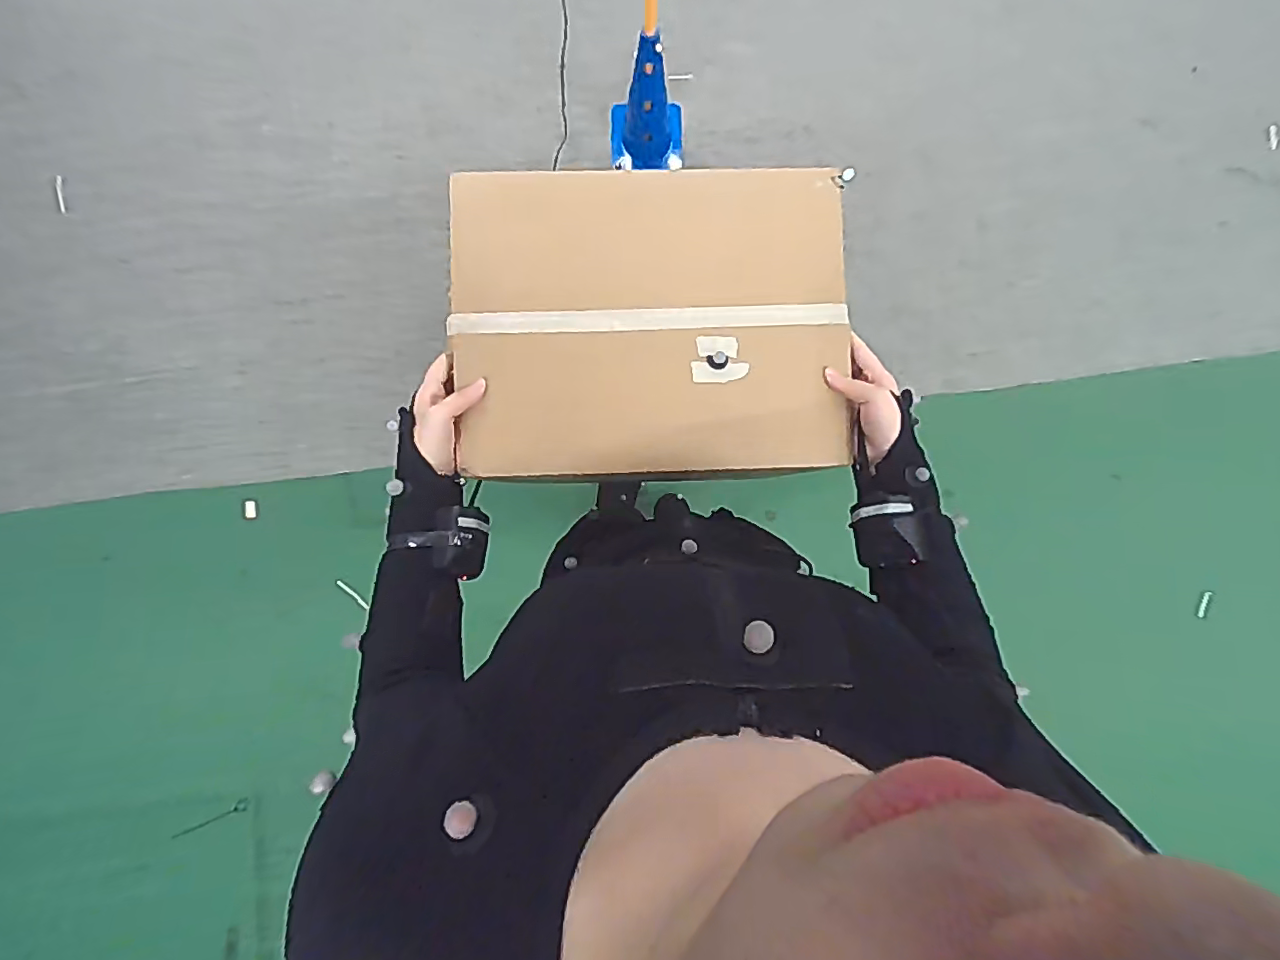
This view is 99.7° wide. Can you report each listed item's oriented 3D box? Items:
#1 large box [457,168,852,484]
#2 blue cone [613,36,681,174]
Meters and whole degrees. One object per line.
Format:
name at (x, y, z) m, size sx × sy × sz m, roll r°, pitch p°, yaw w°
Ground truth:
large box at (0.009, -0.163, 0.708) m, size 0.408 × 0.320 × 0.320 m, roll -2°, pitch 89°, yaw -2°
blue cone at (0.022, -0.966, 1.371) m, size 0.193 × 0.380 × 0.192 m, roll 1°, pitch 89°, yaw 0°
